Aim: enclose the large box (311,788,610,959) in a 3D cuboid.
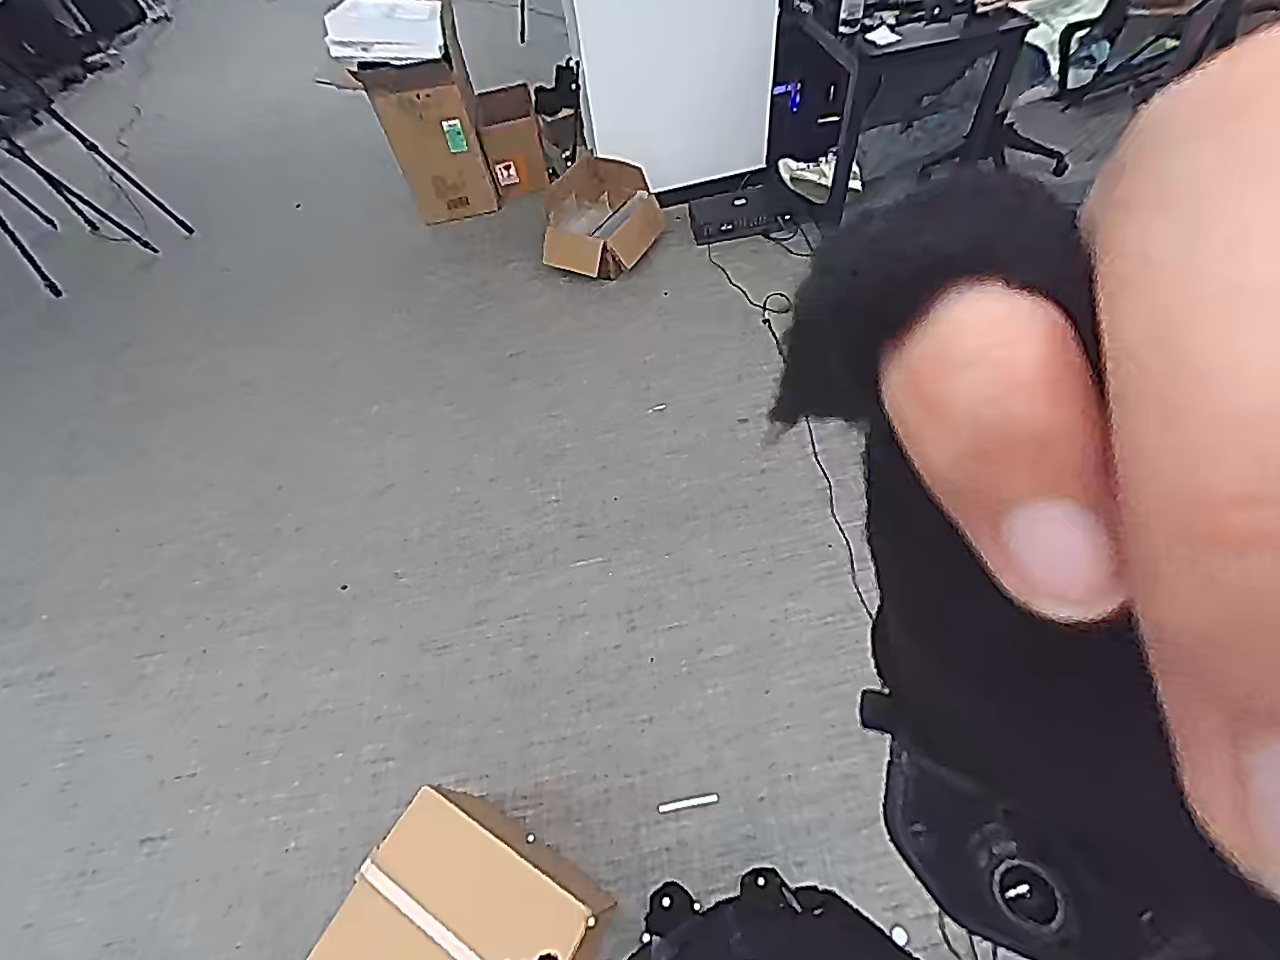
[{"bbox_3d":[-0.319,0.878,1.065,0.408,0.320,0.320,22,61,20],"label":"large box"}]
